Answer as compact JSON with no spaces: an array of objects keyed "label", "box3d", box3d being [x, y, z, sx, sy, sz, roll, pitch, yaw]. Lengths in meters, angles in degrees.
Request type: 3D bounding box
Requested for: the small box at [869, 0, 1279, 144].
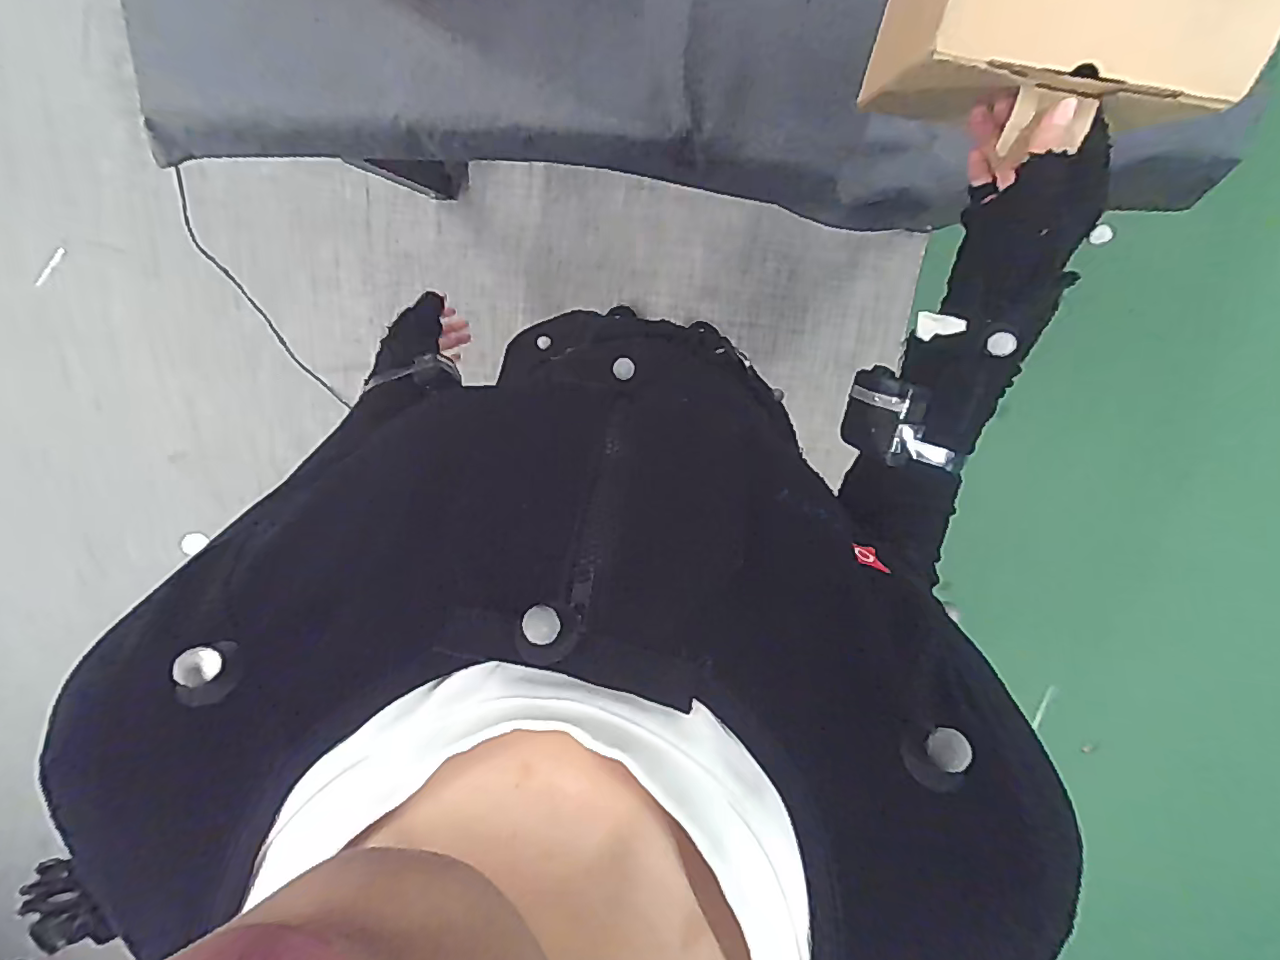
[{"label":"small box","box3d":[0.259,-0.319,0.326,0.168,0.176,0.179,11,117,1]}]
